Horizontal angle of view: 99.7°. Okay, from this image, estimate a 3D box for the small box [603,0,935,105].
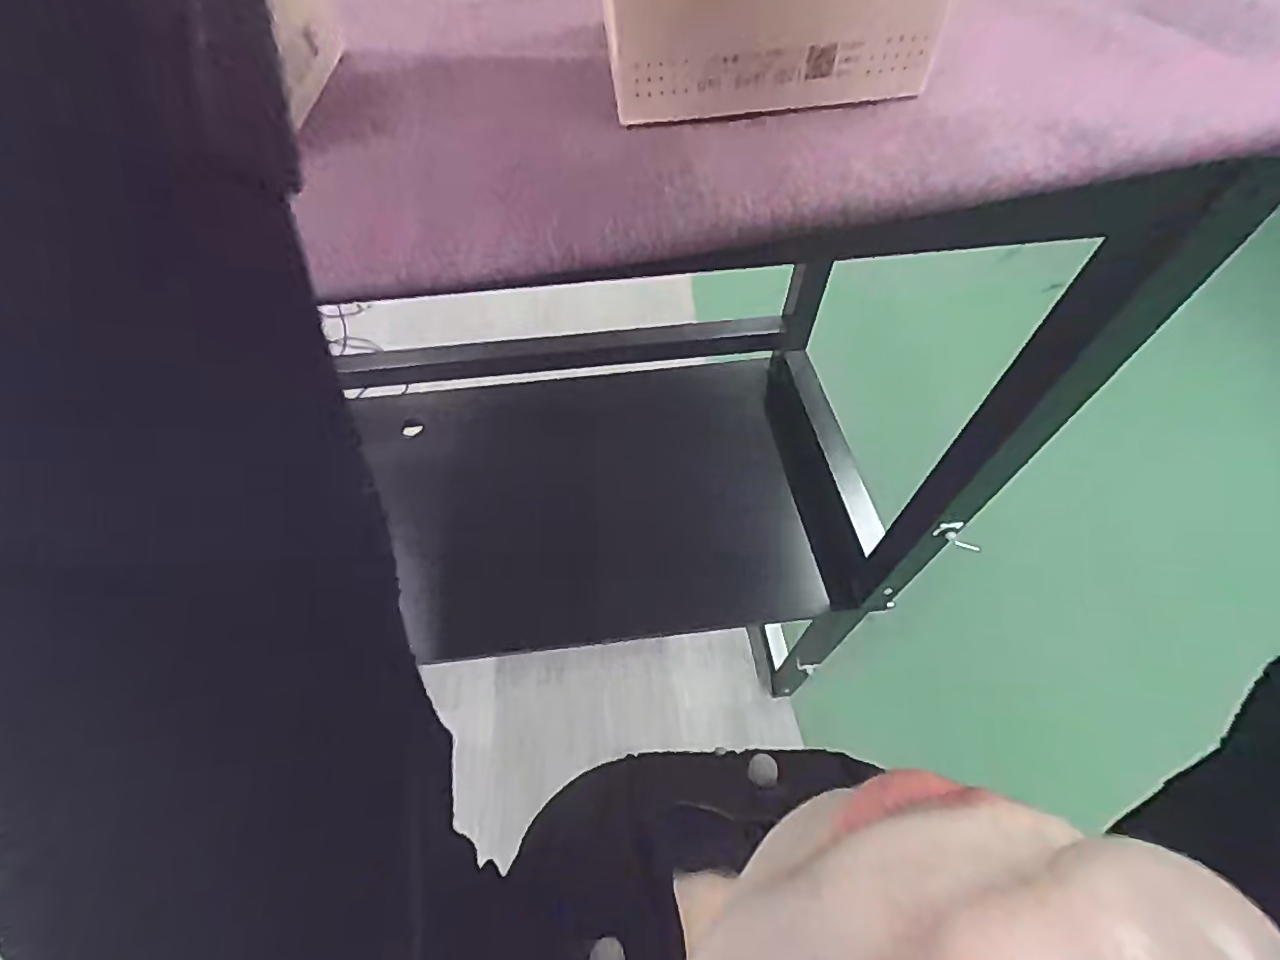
[{"bbox_3d":[0.058,-0.314,0.273,0.168,0.176,0.179,-5,55,-1],"label":"small box"}]
